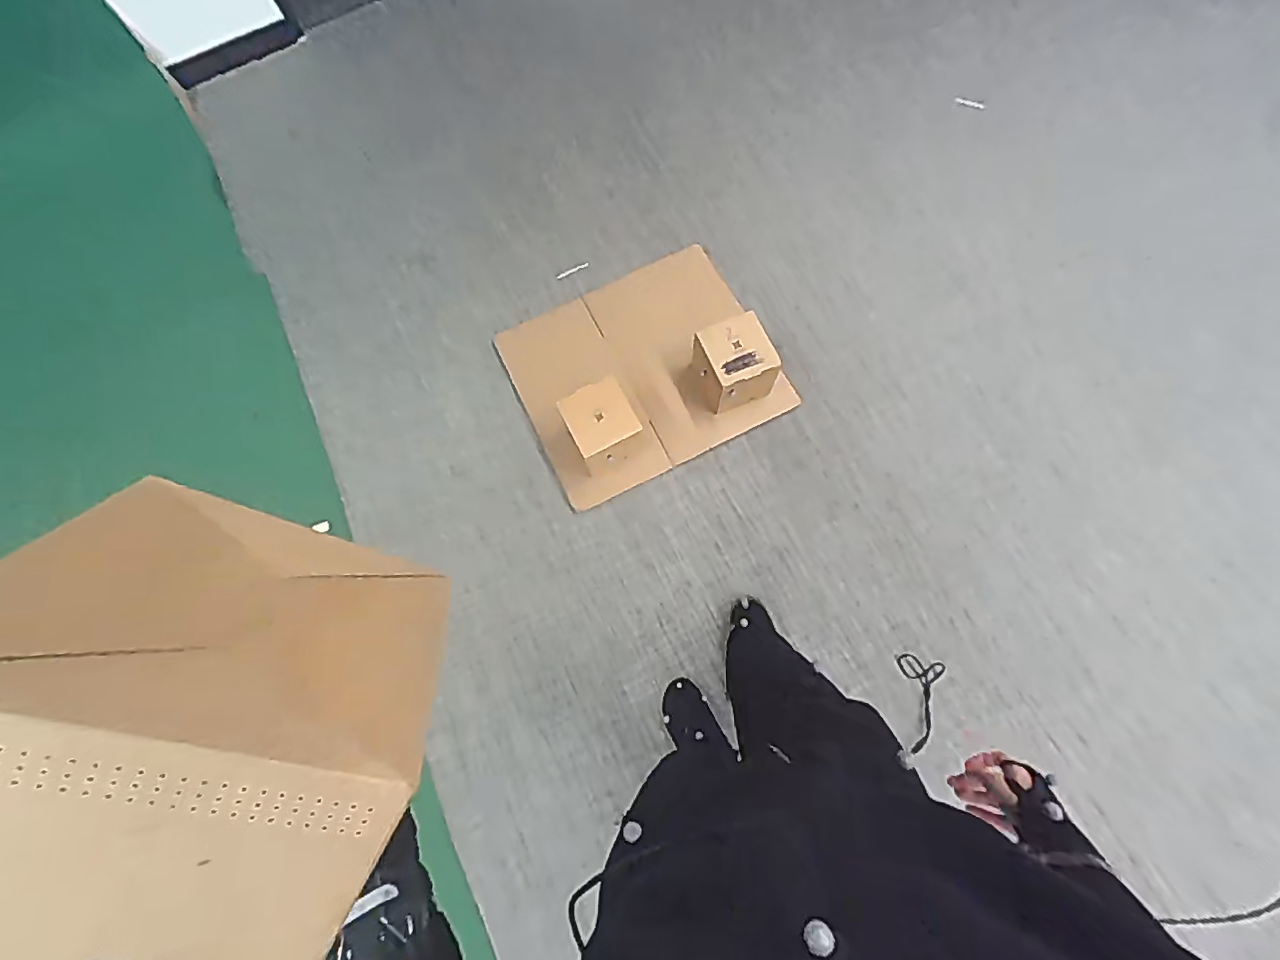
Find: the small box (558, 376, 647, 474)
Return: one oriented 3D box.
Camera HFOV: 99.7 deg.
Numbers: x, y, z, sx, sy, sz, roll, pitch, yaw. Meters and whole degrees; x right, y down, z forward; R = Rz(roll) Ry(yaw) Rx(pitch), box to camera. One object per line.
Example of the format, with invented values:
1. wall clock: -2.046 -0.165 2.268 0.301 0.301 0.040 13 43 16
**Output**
1. small box: -0.092 -0.132 1.413 0.168 0.176 0.179 -28 73 -5
